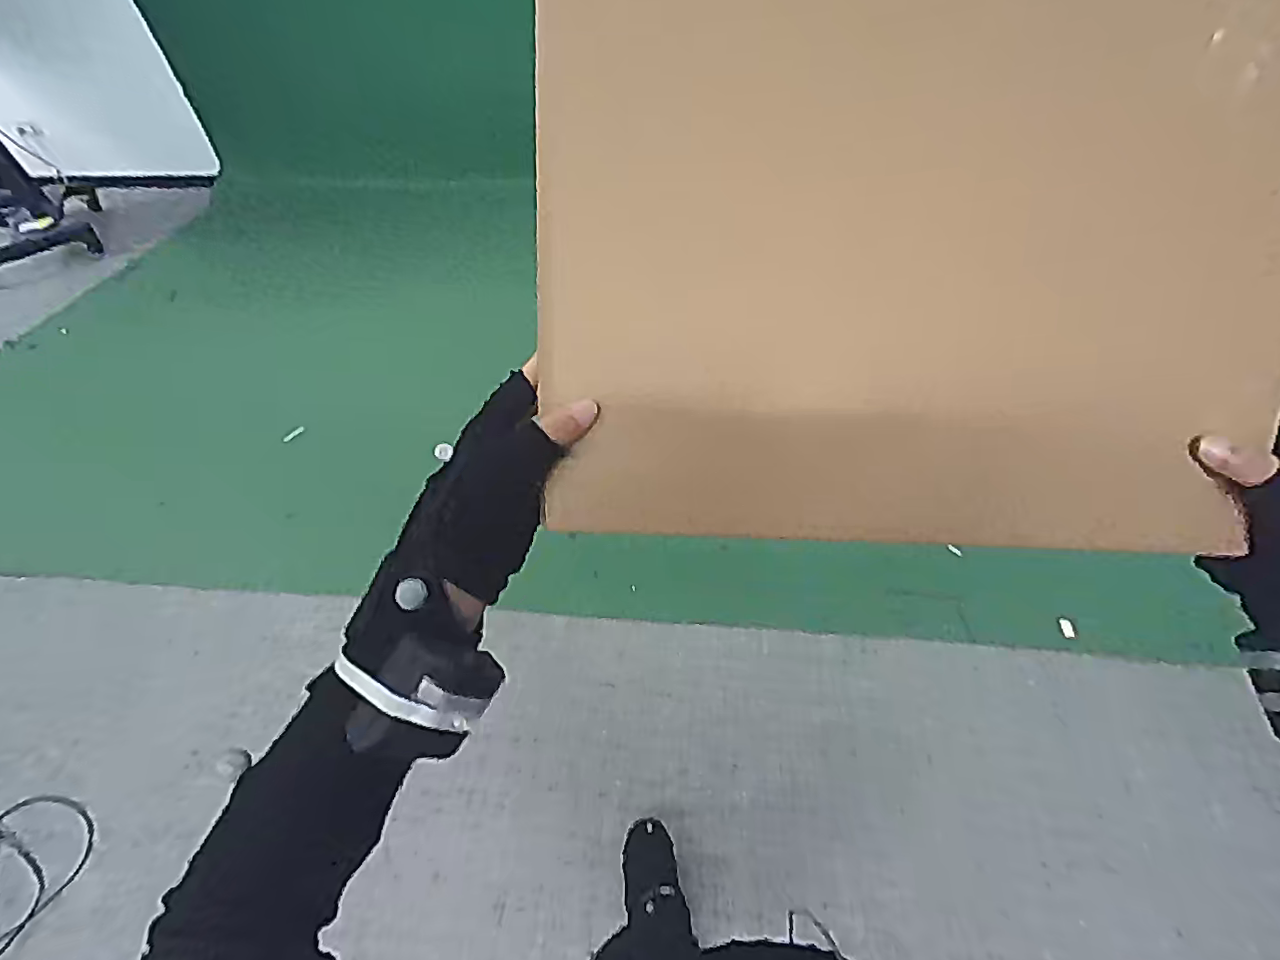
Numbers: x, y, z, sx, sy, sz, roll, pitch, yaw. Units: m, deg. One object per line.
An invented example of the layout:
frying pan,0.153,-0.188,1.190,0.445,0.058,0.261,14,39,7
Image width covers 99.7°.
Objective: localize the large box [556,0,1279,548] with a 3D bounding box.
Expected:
large box,0.152,-0.144,0.429,0.408,0.320,0.320,3,13,-1
